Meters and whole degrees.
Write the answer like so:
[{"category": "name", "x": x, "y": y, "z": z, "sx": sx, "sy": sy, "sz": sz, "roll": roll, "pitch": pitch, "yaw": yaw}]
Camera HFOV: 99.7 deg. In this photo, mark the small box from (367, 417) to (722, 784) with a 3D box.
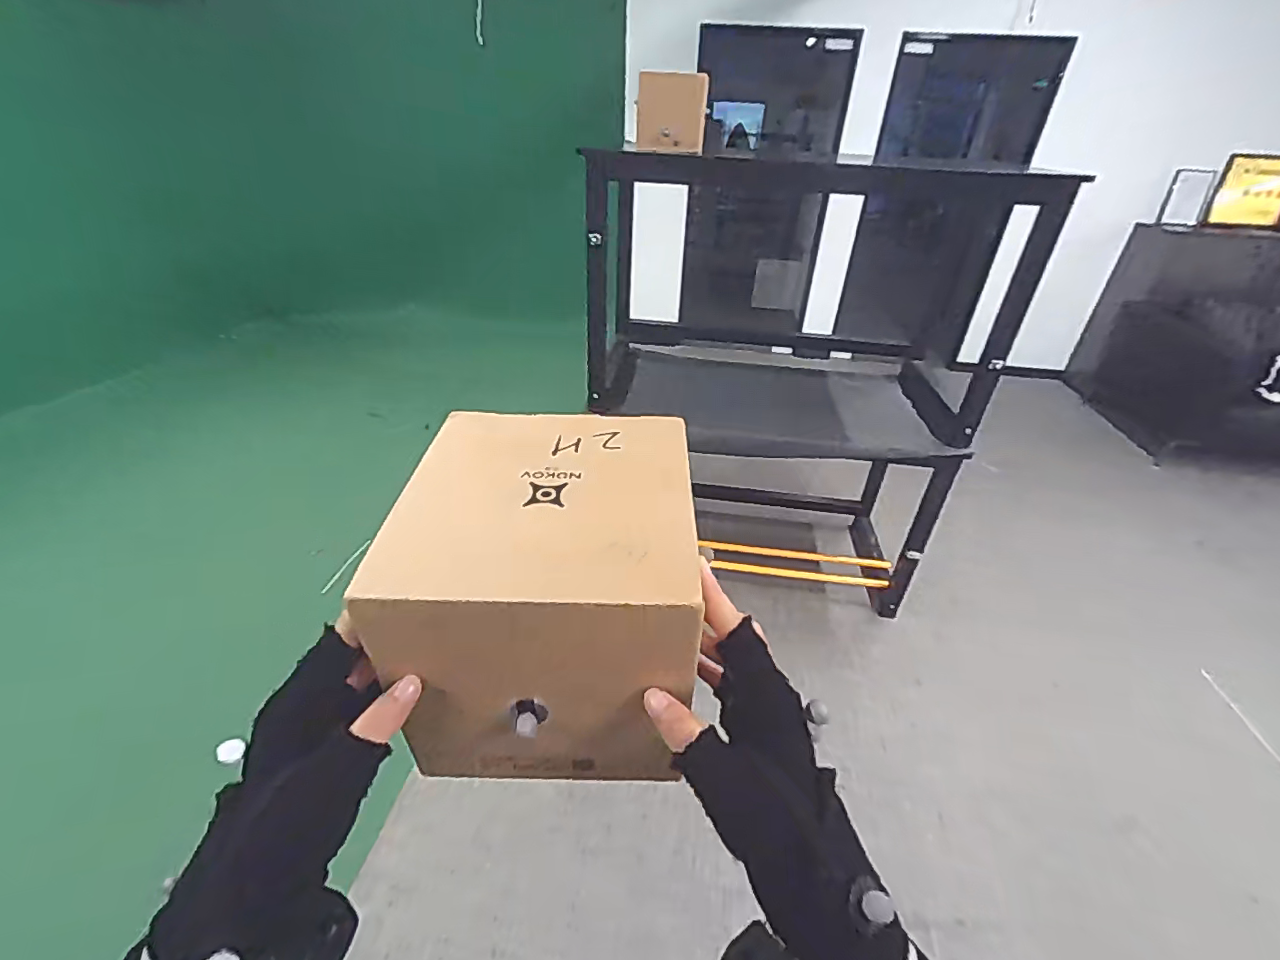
[{"category": "small box", "x": -0.043, "y": 0.074, "z": 0.356, "sx": 0.168, "sy": 0.176, "sz": 0.179, "roll": 2, "pitch": 35, "yaw": -1}]
